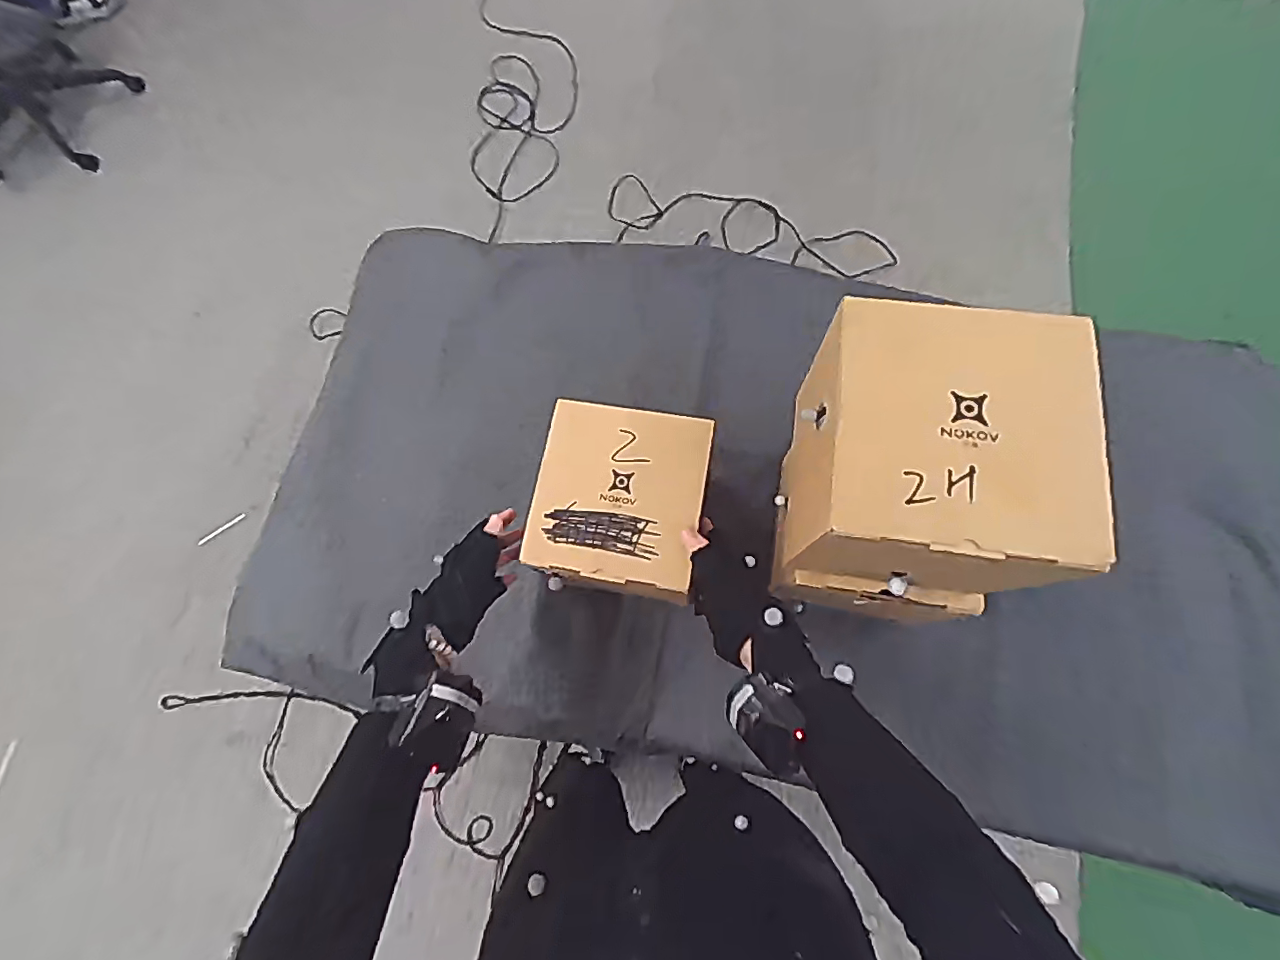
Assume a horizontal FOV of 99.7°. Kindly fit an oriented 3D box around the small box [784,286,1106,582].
[{"bbox_3d":[0.214,-0.023,0.427,0.168,0.176,0.179,7,75,7],"label":"small box"}]

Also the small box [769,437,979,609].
[{"bbox_3d":[0.237,0.037,0.578,0.168,0.176,0.179,8,74,7],"label":"small box"}]
